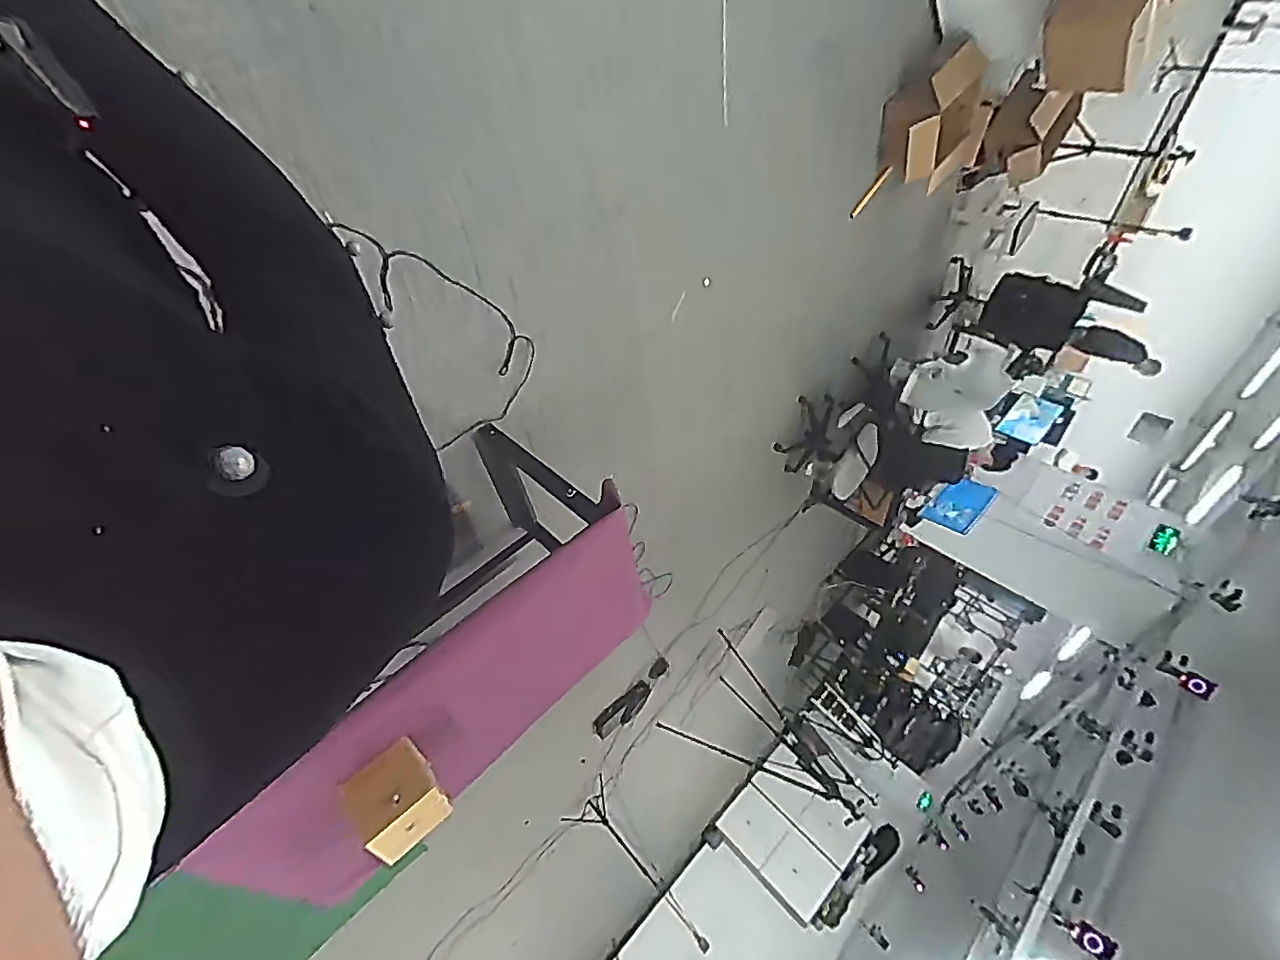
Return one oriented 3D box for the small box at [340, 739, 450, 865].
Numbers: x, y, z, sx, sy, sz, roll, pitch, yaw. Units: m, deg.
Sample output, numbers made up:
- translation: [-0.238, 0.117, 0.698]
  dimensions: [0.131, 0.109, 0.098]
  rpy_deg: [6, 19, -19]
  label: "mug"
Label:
- translation: [-0.609, 0.787, 1.333]
  dimensions: [0.179, 0.176, 0.168]
  rpy_deg: [-36, 141, -31]
  label: "small box"
